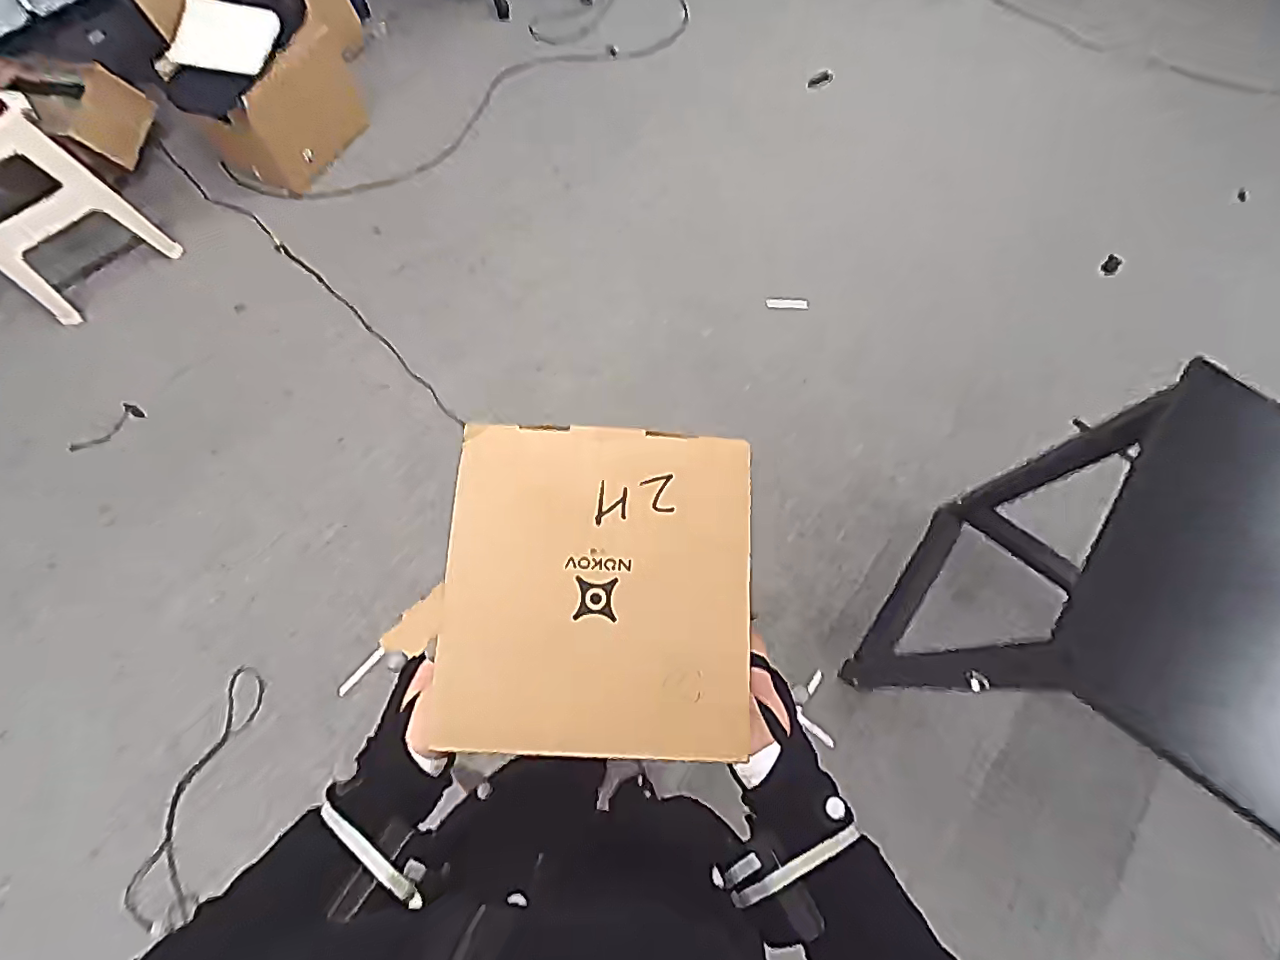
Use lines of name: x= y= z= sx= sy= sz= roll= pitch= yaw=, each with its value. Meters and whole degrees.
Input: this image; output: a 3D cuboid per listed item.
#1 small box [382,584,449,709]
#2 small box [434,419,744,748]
small box: x=-0.381 y=0.342 z=1.105 sx=0.179 sy=0.176 sz=0.168 roll=43 pitch=73 yaw=11
small box: x=-0.026 y=0.070 z=0.378 sx=0.168 sy=0.176 sz=0.179 roll=3 pitch=76 yaw=-2
